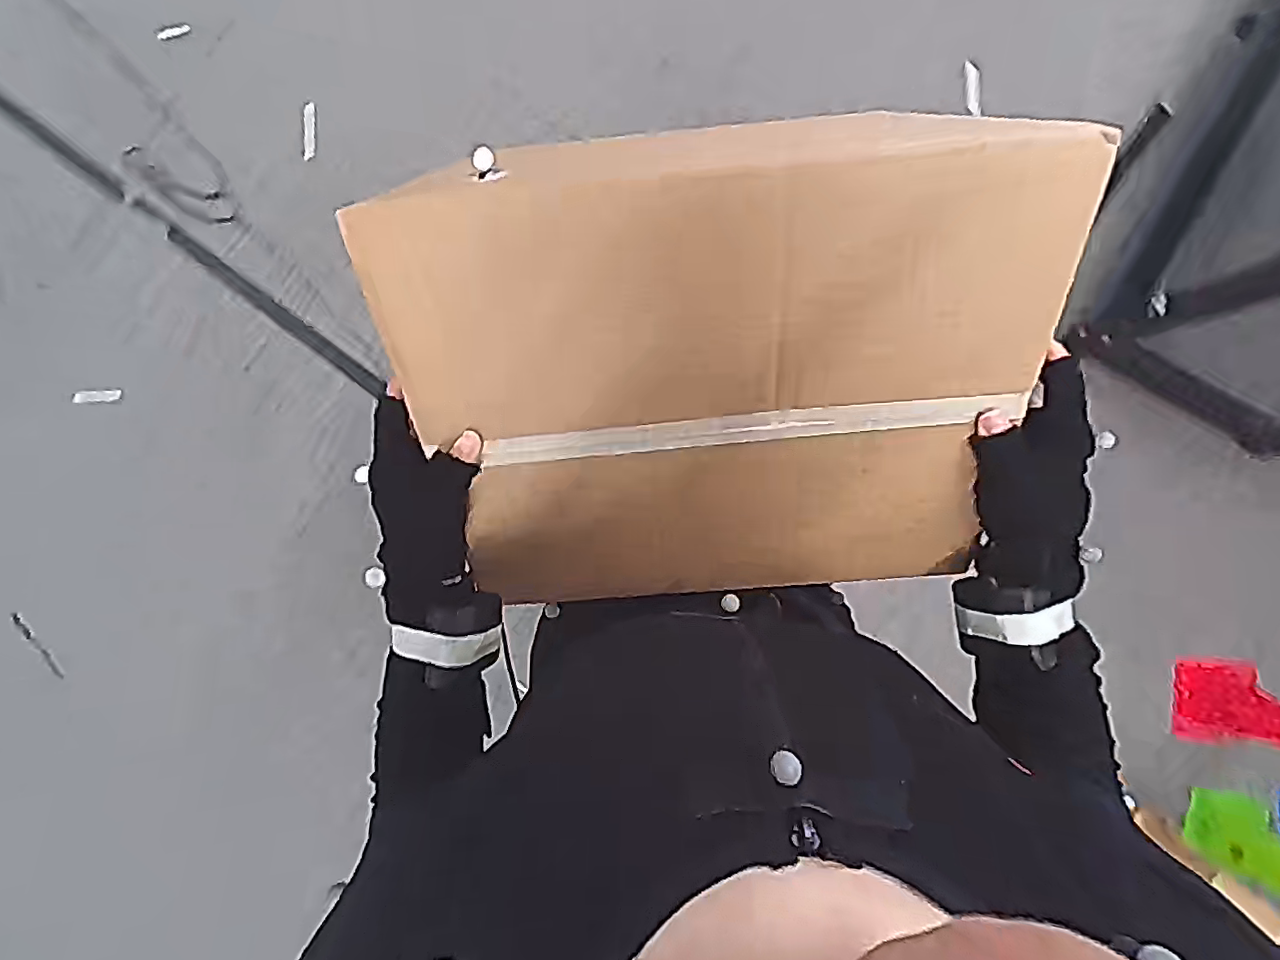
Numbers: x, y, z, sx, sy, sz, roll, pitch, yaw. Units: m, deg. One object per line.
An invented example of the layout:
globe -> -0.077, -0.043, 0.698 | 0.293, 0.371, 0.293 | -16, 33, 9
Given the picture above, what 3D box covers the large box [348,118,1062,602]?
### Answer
large box -> 0.041, -0.123, 0.501 | 0.408, 0.320, 0.320 | -6, 126, 3
